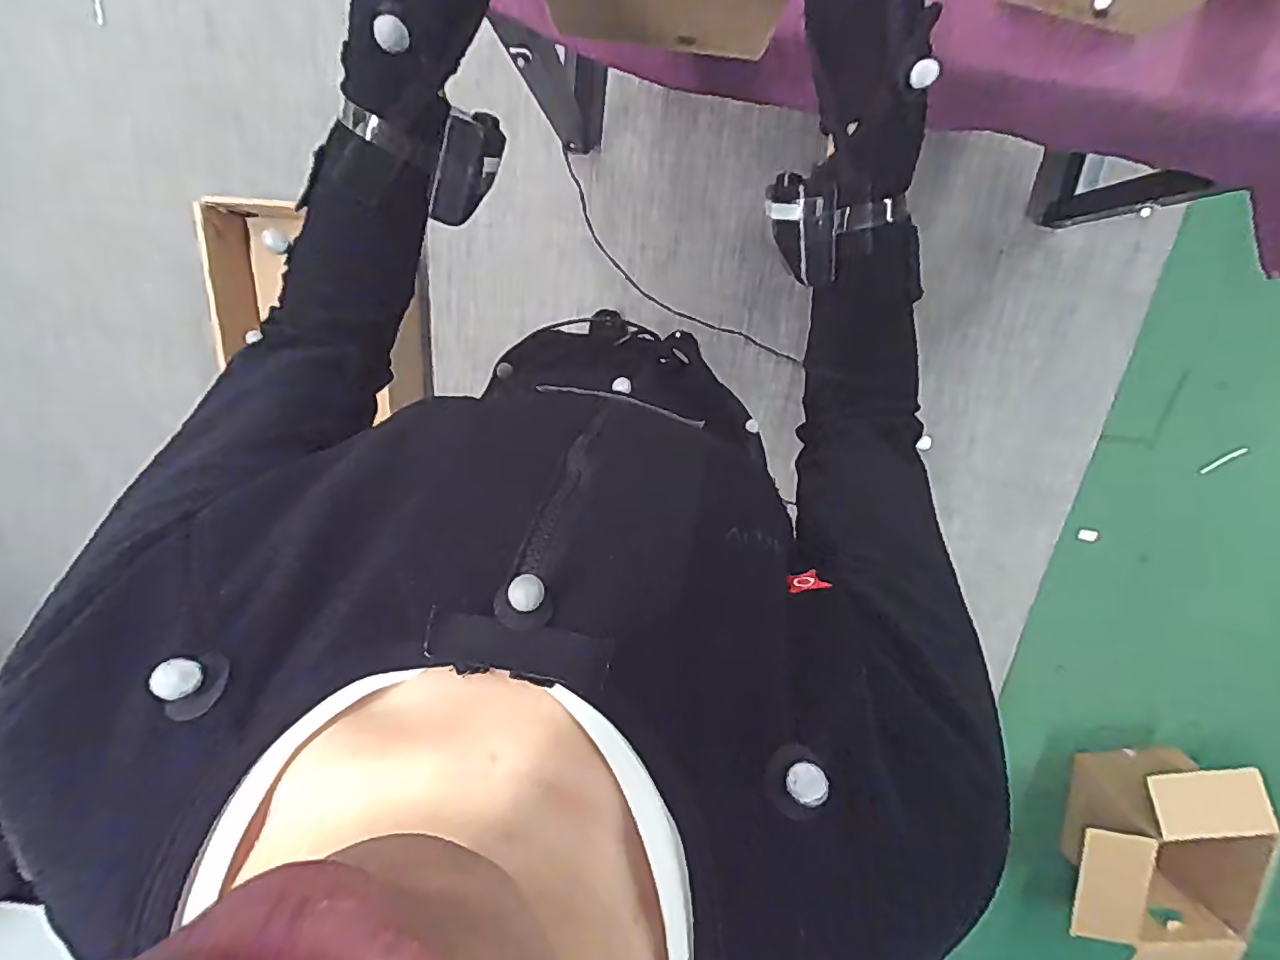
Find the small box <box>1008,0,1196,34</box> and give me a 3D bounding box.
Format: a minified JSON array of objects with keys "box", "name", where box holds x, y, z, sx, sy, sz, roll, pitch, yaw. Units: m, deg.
[{"box":[0.463,-0.541,0.463,0.168,0.176,0.179,13,107,-2],"name":"small box"}]
